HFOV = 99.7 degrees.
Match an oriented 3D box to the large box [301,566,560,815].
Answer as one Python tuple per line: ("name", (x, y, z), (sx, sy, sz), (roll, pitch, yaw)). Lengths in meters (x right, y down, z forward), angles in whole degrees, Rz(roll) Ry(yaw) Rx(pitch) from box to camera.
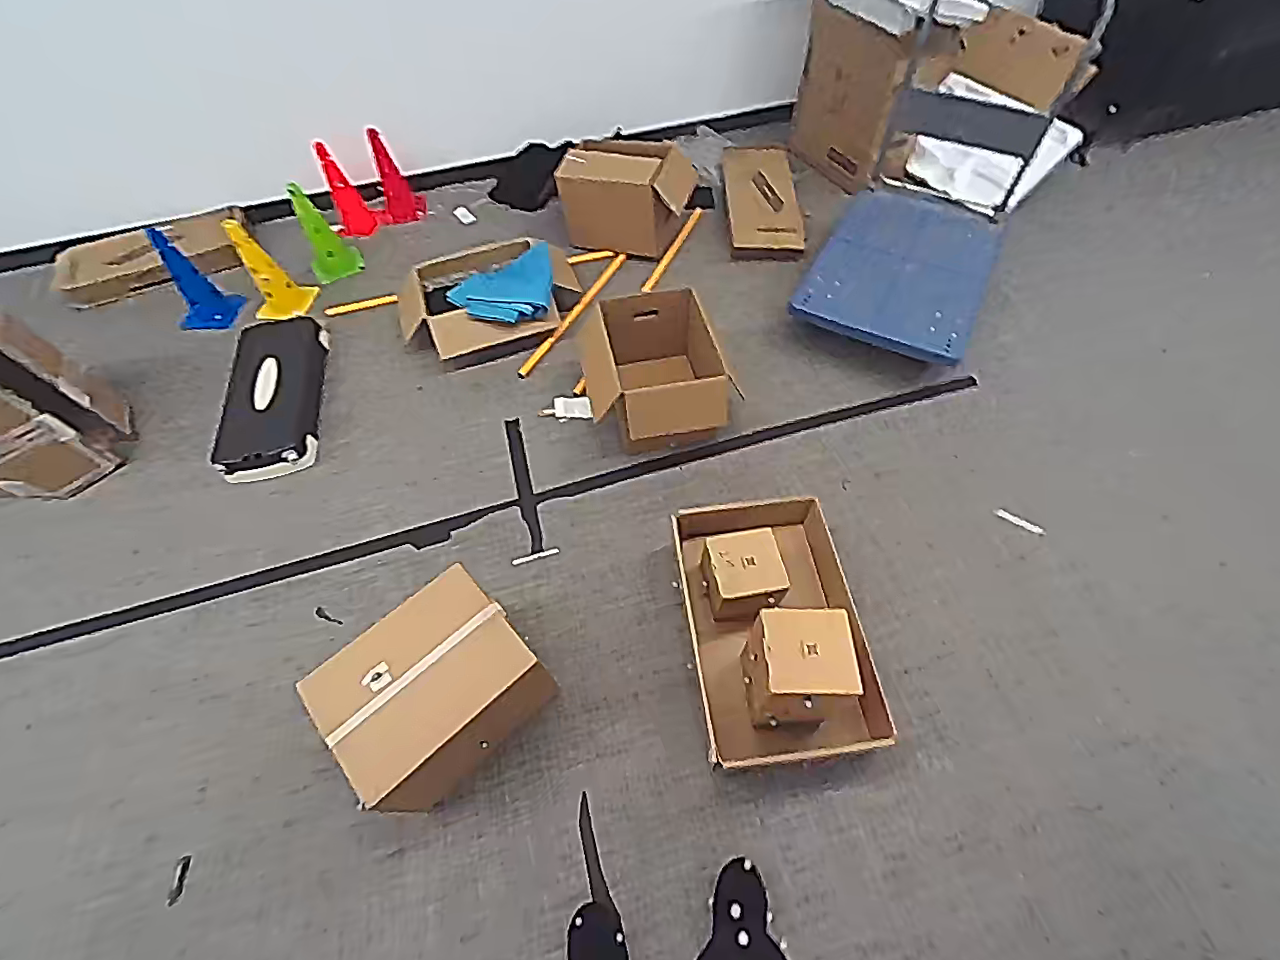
("large box", (-0.450, 0.484, 1.248), (0.408, 0.320, 0.320), (-40, 64, -20))
